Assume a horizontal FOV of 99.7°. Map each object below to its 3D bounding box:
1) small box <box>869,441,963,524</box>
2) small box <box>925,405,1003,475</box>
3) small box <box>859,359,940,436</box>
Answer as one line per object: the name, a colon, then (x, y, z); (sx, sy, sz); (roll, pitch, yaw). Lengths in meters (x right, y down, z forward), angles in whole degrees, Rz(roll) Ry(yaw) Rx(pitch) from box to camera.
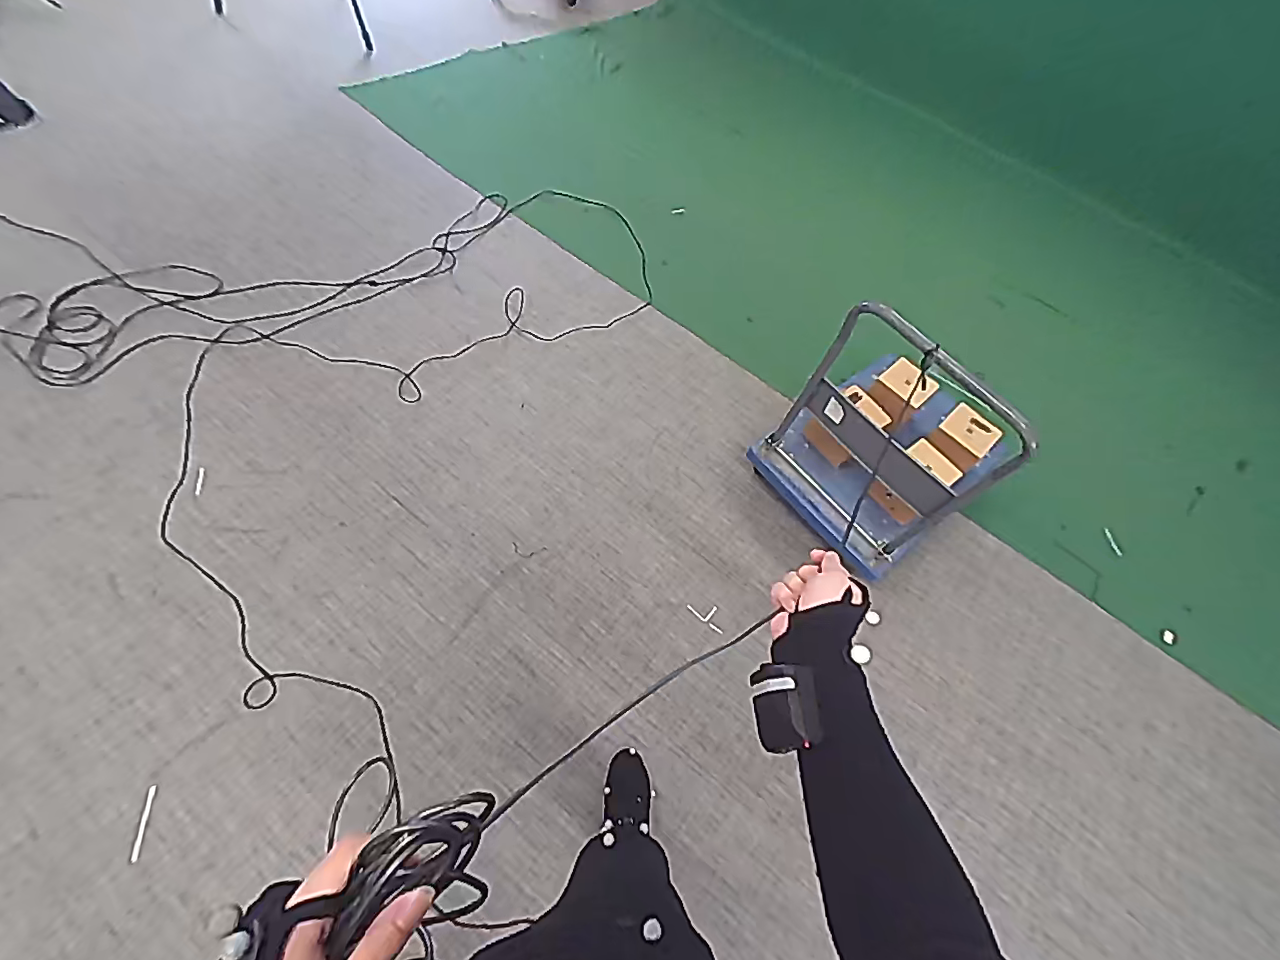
small box: (0.877, 0.011, 1.733); (0.179, 0.176, 0.168); (-31, 69, -25)
small box: (1.084, -0.119, 1.851); (0.179, 0.176, 0.168); (-36, 70, -27)
small box: (0.912, -0.289, 1.924); (0.179, 0.176, 0.168); (-36, 72, -27)
